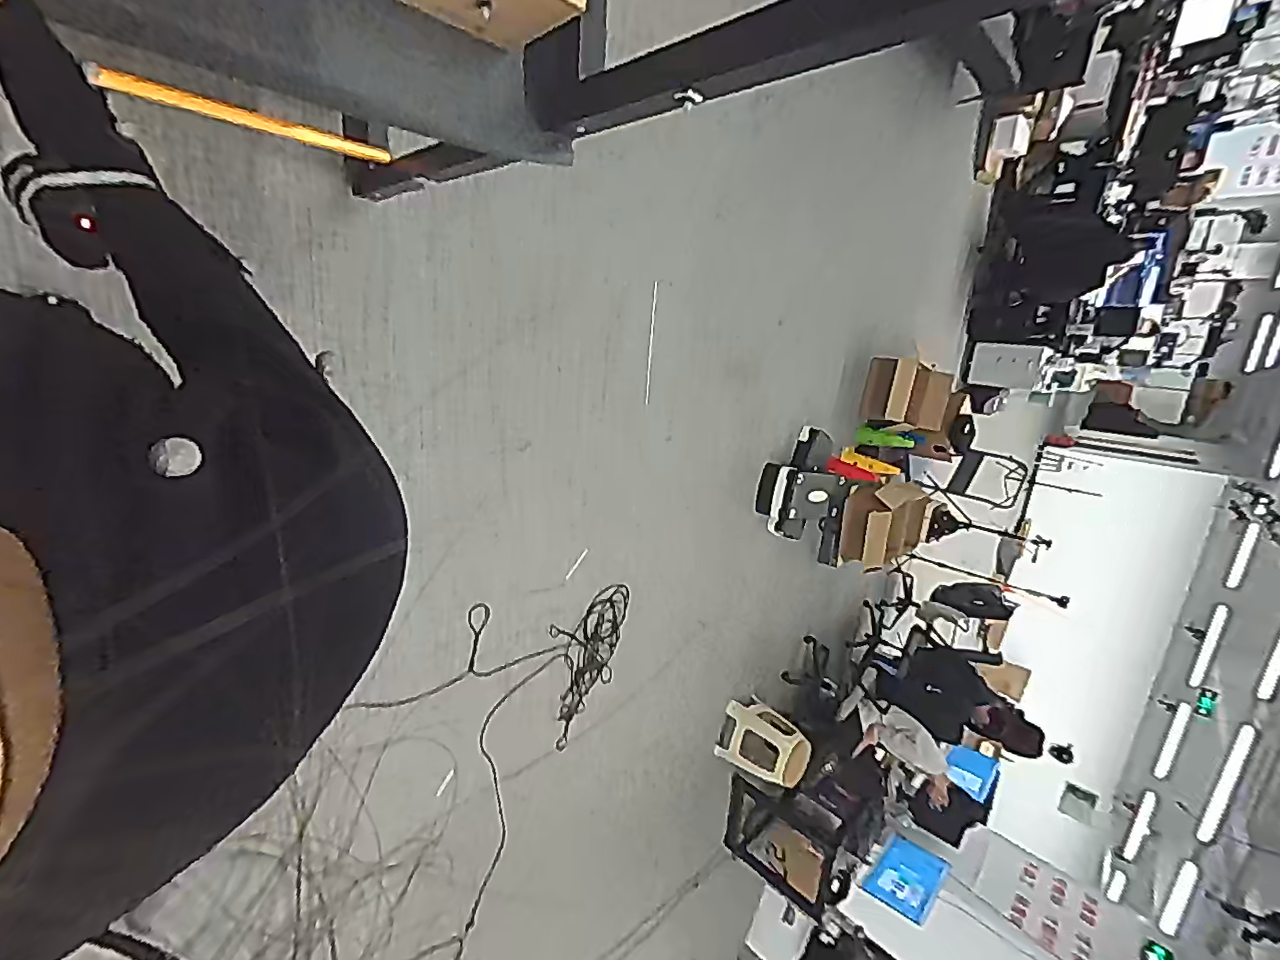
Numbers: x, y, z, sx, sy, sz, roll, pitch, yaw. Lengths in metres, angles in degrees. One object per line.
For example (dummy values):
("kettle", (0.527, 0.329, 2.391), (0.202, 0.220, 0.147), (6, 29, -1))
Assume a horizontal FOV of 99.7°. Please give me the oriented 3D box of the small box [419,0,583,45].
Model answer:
("small box", (-0.179, -0.661, 0.635), (0.168, 0.176, 0.179), (-13, 112, -45))
